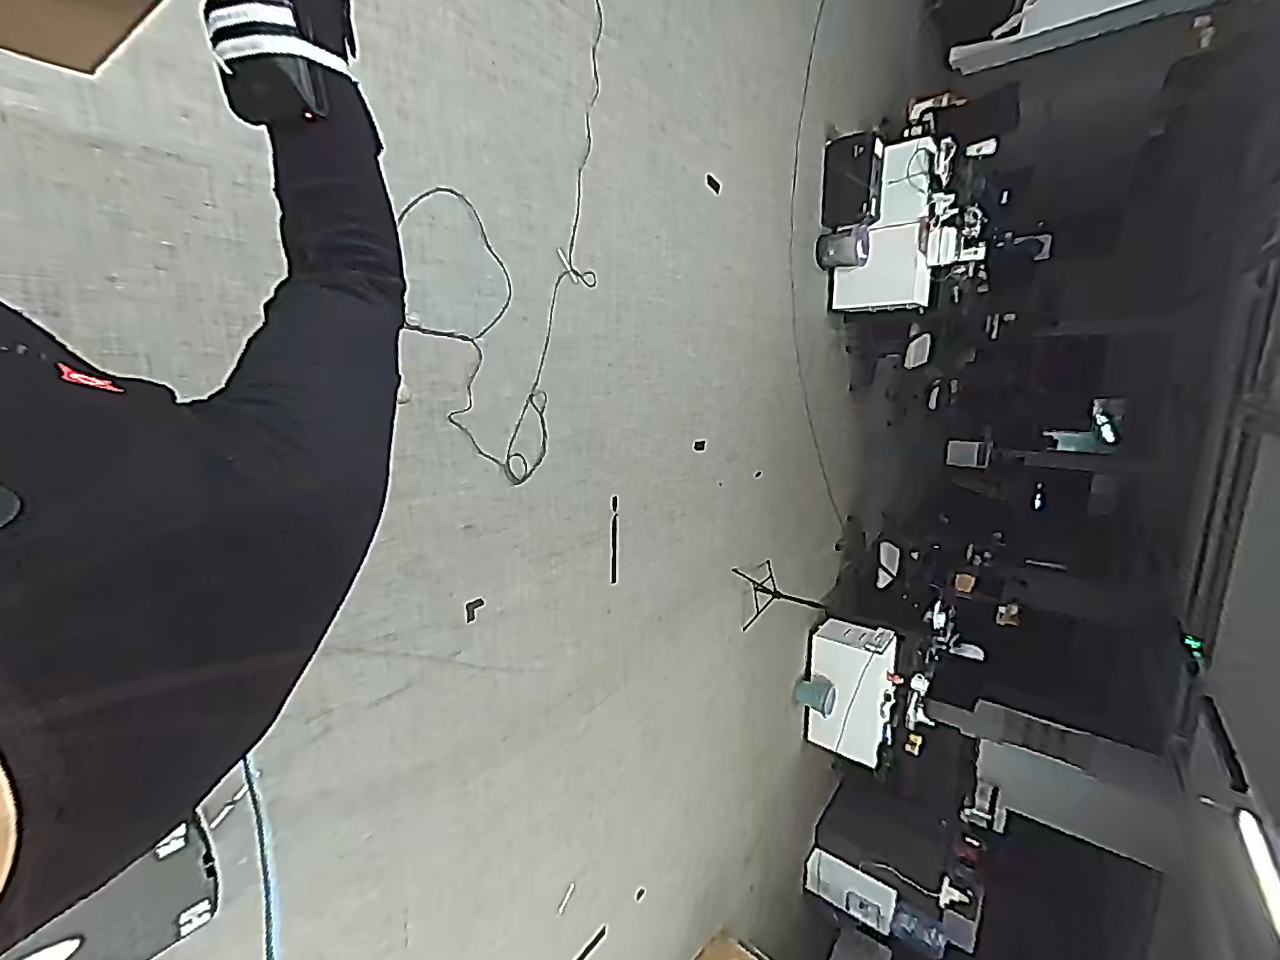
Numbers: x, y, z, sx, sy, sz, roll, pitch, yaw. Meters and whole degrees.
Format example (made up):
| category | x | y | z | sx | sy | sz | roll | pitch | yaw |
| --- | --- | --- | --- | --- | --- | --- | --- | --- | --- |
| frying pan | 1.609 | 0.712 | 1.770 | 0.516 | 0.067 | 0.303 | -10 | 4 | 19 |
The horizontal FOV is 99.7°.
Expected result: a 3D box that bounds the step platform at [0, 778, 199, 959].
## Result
| category | x | y | z | sx | sy | sz | roll | pitch | yaw |
| --- | --- | --- | --- | --- | --- | --- | --- | --- | --- |
| step platform | -1.215 | 0.866 | 0.948 | 0.684 | 0.204 | 0.286 | -18 | 110 | -48 |
